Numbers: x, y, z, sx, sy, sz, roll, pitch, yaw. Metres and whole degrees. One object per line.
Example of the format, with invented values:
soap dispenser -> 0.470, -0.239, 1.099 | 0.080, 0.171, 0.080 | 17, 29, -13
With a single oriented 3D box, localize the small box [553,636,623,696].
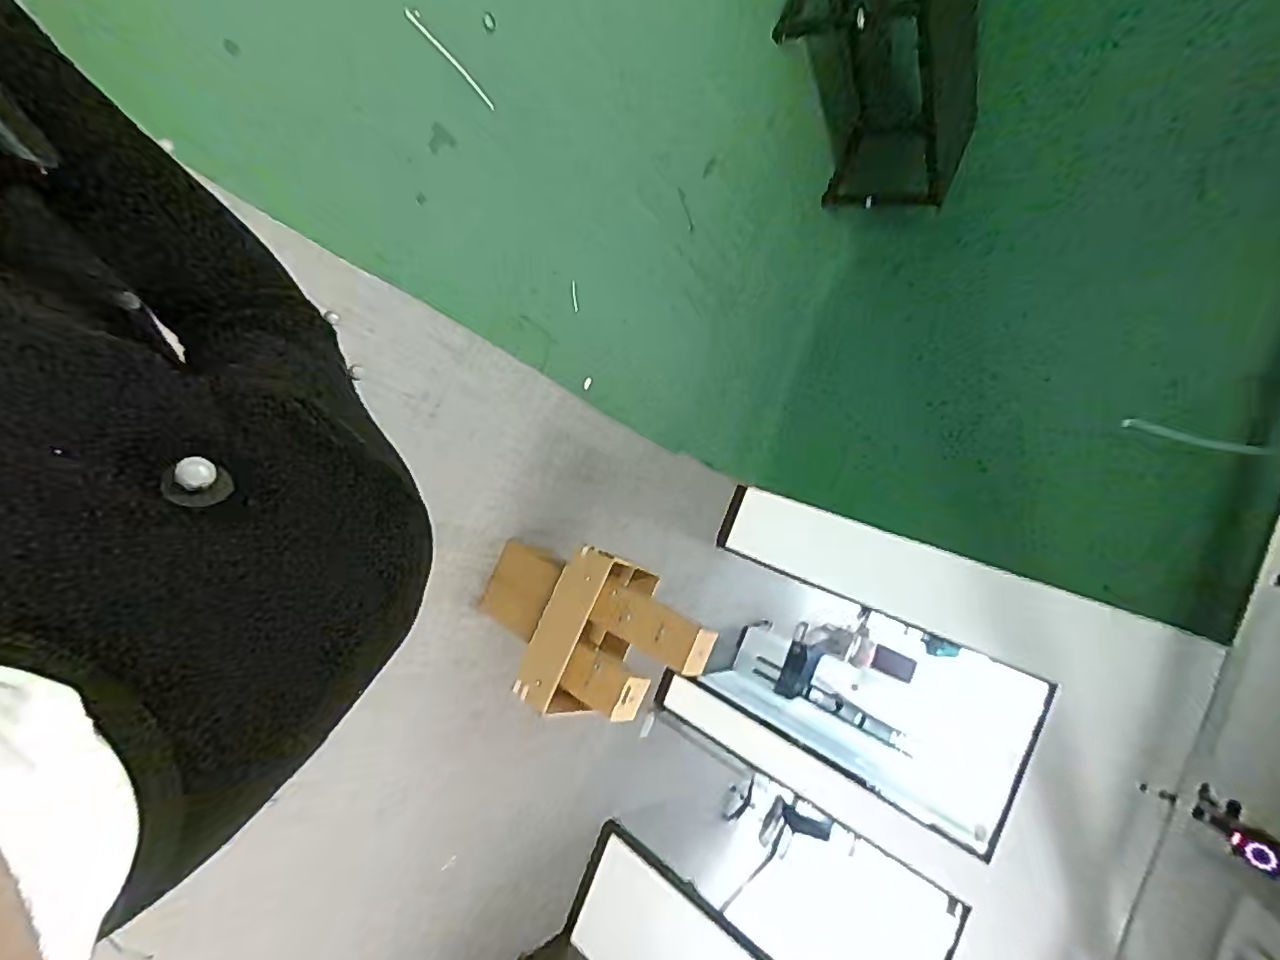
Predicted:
small box -> -0.204, 0.720, 2.097 | 0.179, 0.176, 0.168 | 33, 79, -54

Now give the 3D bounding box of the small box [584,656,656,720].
small box -> -0.077, 0.769, 2.003 | 0.179, 0.176, 0.168 | 35, 78, -55

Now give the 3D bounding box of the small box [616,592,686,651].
small box -> 0.043, 0.535, 2.043 | 0.179, 0.176, 0.168 | 32, 81, -55

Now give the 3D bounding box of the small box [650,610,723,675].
small box -> 0.168, 0.584, 1.950 | 0.179, 0.176, 0.168 | 33, 79, -55
